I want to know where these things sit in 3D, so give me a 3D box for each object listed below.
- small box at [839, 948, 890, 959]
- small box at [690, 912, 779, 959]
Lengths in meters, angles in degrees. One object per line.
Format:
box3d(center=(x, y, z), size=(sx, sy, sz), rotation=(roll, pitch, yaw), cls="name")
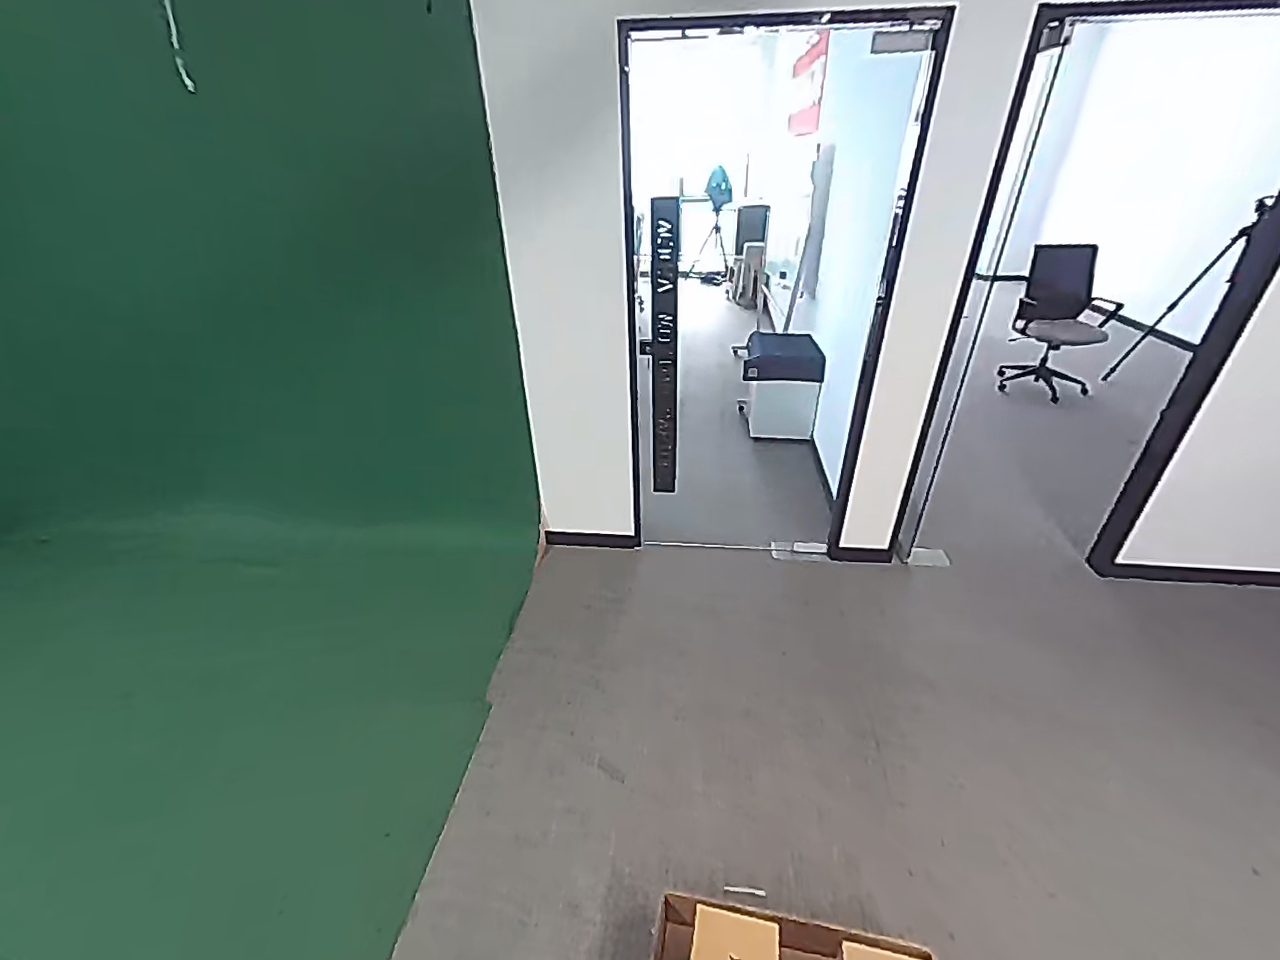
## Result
box3d(center=(0.452, 1.018, 0.989), size=(0.168, 0.176, 0.179), rotation=(5, 30, 12), cls="small box")
box3d(center=(0.174, 0.992, 1.043), size=(0.168, 0.176, 0.179), rotation=(6, 30, 10), cls="small box")
